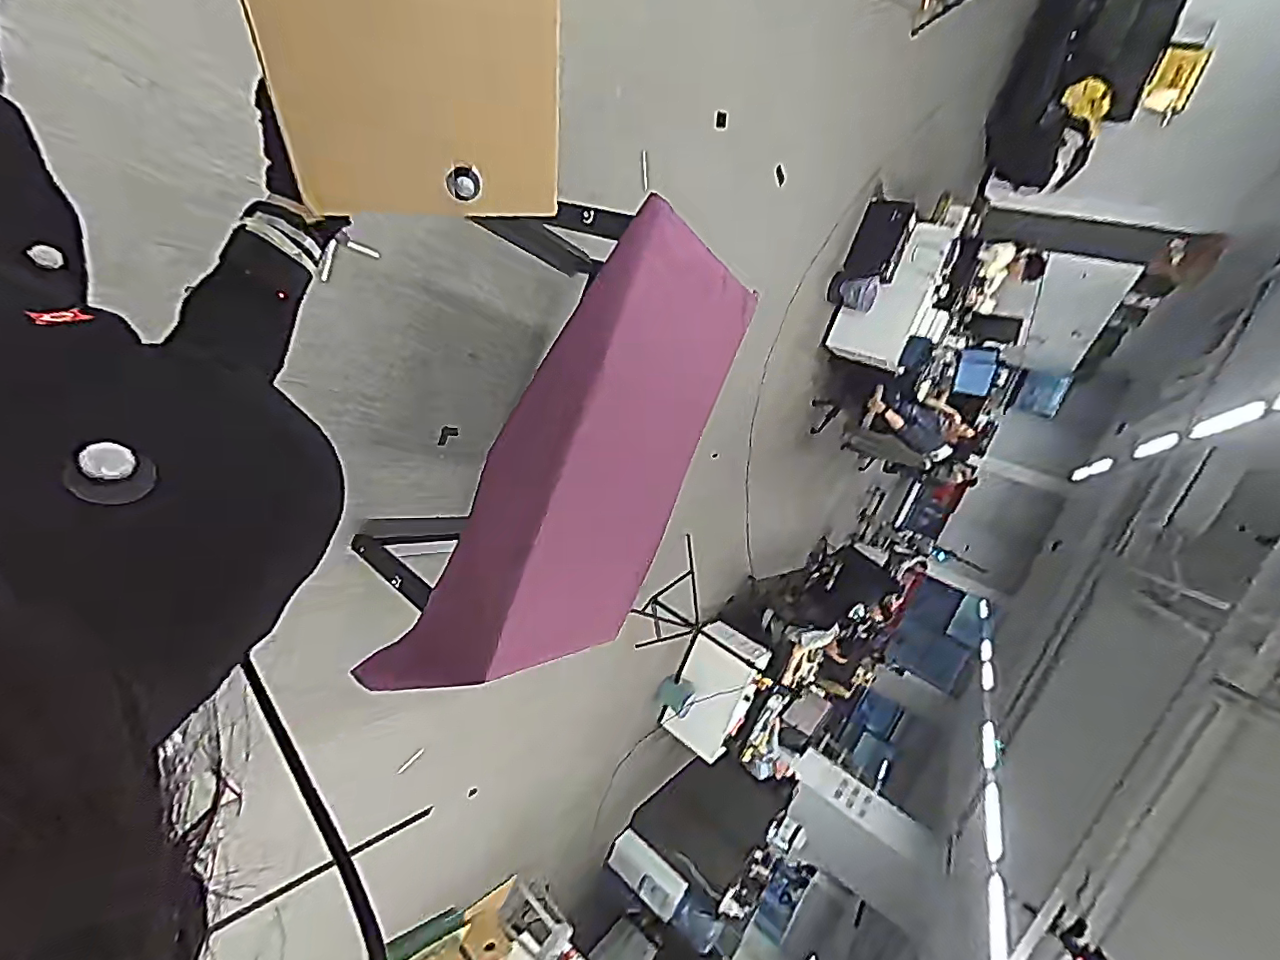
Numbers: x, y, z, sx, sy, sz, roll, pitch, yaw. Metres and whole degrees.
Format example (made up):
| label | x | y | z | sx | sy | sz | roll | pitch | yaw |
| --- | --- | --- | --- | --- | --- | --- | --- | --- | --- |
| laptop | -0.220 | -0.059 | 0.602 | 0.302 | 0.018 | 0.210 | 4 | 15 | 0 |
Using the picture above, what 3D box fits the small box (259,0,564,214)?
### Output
| label | x | y | z | sx | sy | sz | roll | pitch | yaw |
| --- | --- | --- | --- | --- | --- | --- | --- | --- | --- |
| small box | -0.149 | -0.304 | 0.367 | 0.168 | 0.179 | 0.176 | -8 | 138 | -18 |
